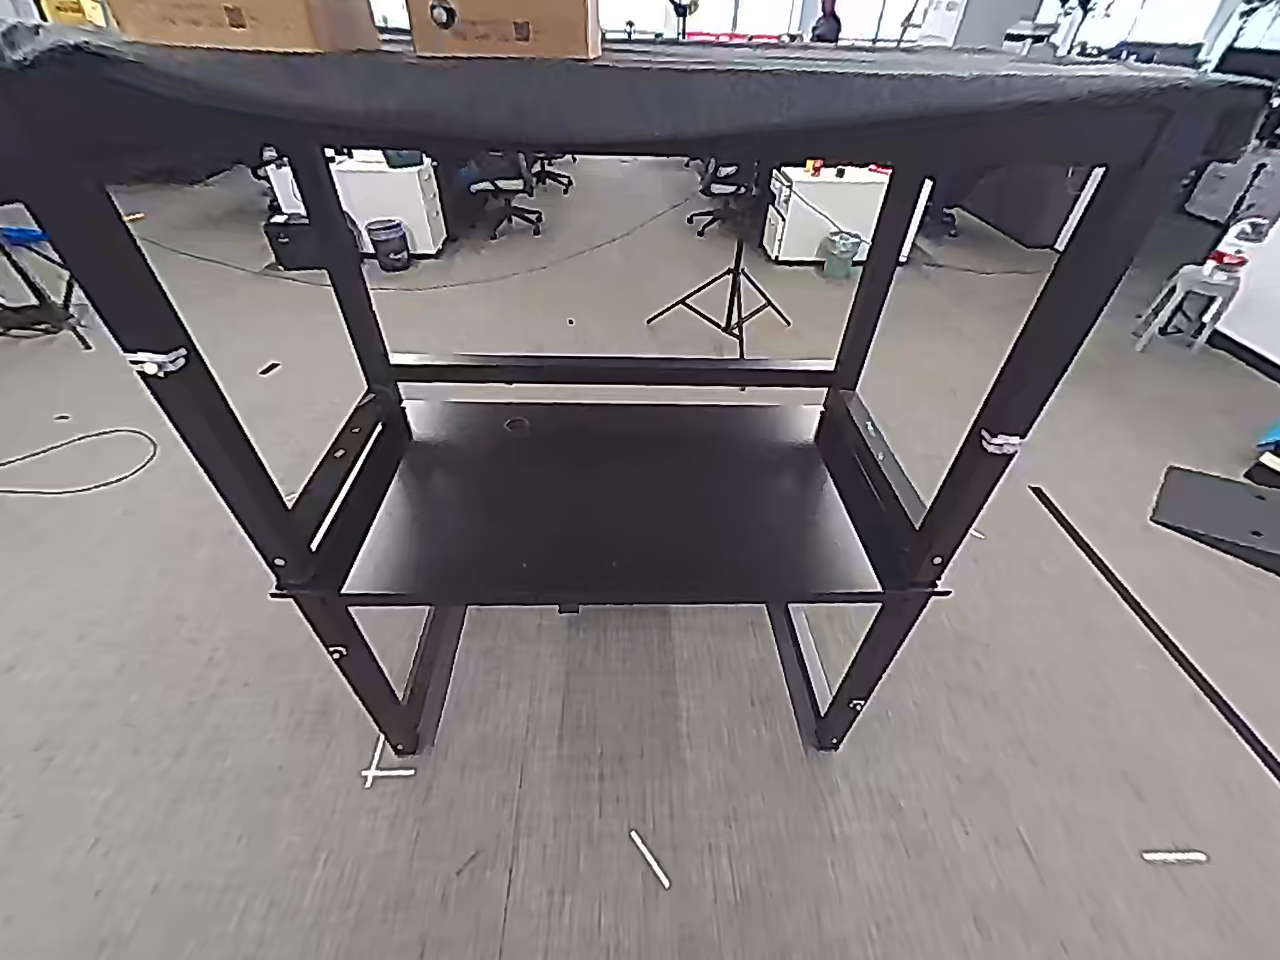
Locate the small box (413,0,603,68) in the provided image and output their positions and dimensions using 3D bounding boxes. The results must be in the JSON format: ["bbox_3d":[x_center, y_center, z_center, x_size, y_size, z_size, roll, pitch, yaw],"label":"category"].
[{"bbox_3d":[-0.124,-0.508,0.523,0.168,0.176,0.179,1,38,-1],"label":"small box"}]

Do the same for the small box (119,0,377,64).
[{"bbox_3d":[-0.365,-0.490,0.494,0.168,0.176,0.179,1,39,-3],"label":"small box"}]
